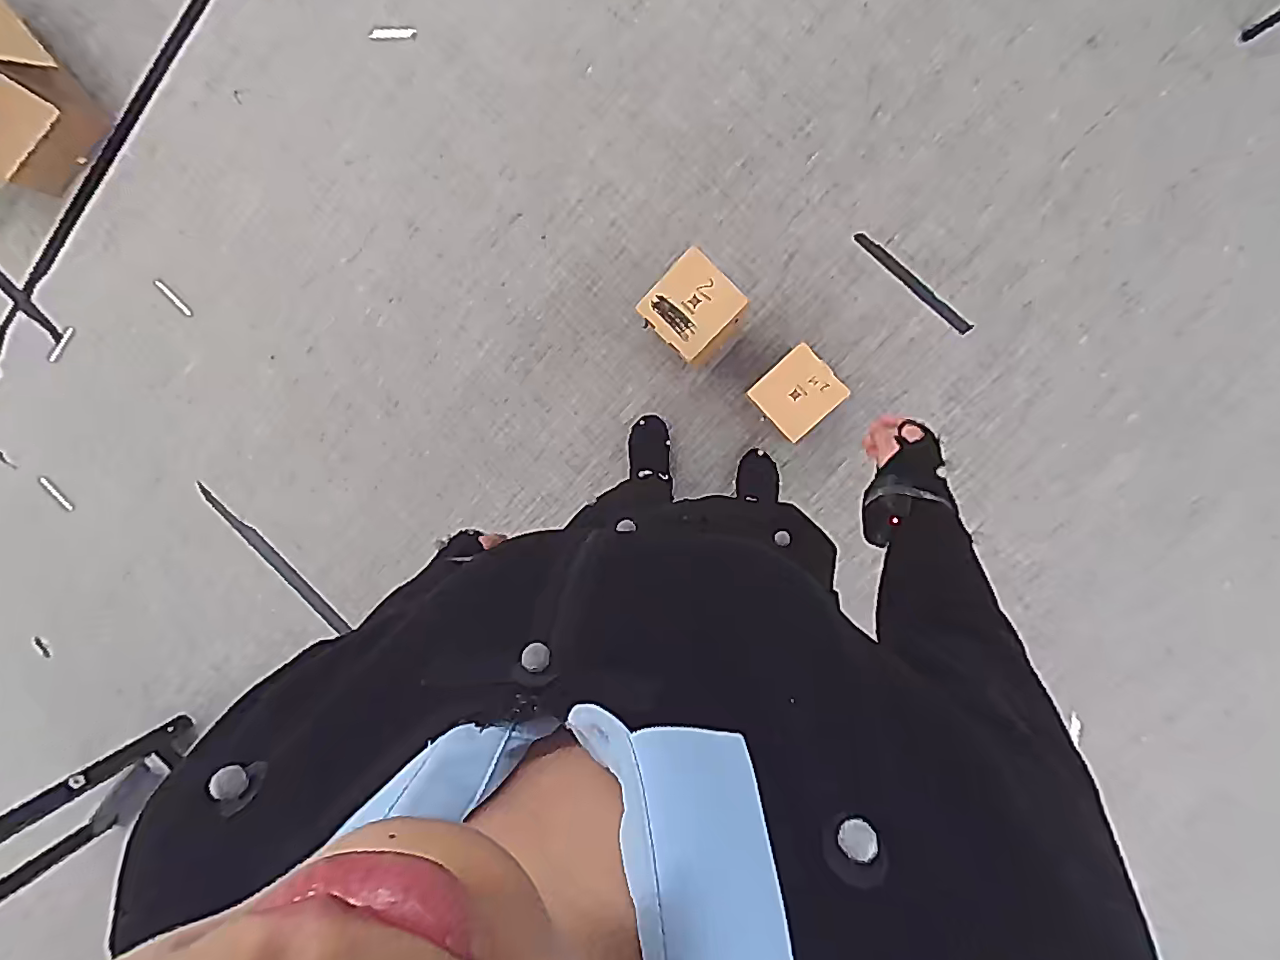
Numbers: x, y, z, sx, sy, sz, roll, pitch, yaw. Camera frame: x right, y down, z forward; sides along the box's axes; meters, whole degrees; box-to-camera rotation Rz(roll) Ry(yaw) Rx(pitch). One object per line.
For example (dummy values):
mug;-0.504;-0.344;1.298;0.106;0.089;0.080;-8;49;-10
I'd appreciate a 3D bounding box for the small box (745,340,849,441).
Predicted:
small box;0.376;-0.214;1.326;0.179;0.176;0.168;-43;89;10

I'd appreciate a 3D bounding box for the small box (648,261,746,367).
small box;0.142;-0.402;1.343;0.179;0.176;0.168;-44;88;11
